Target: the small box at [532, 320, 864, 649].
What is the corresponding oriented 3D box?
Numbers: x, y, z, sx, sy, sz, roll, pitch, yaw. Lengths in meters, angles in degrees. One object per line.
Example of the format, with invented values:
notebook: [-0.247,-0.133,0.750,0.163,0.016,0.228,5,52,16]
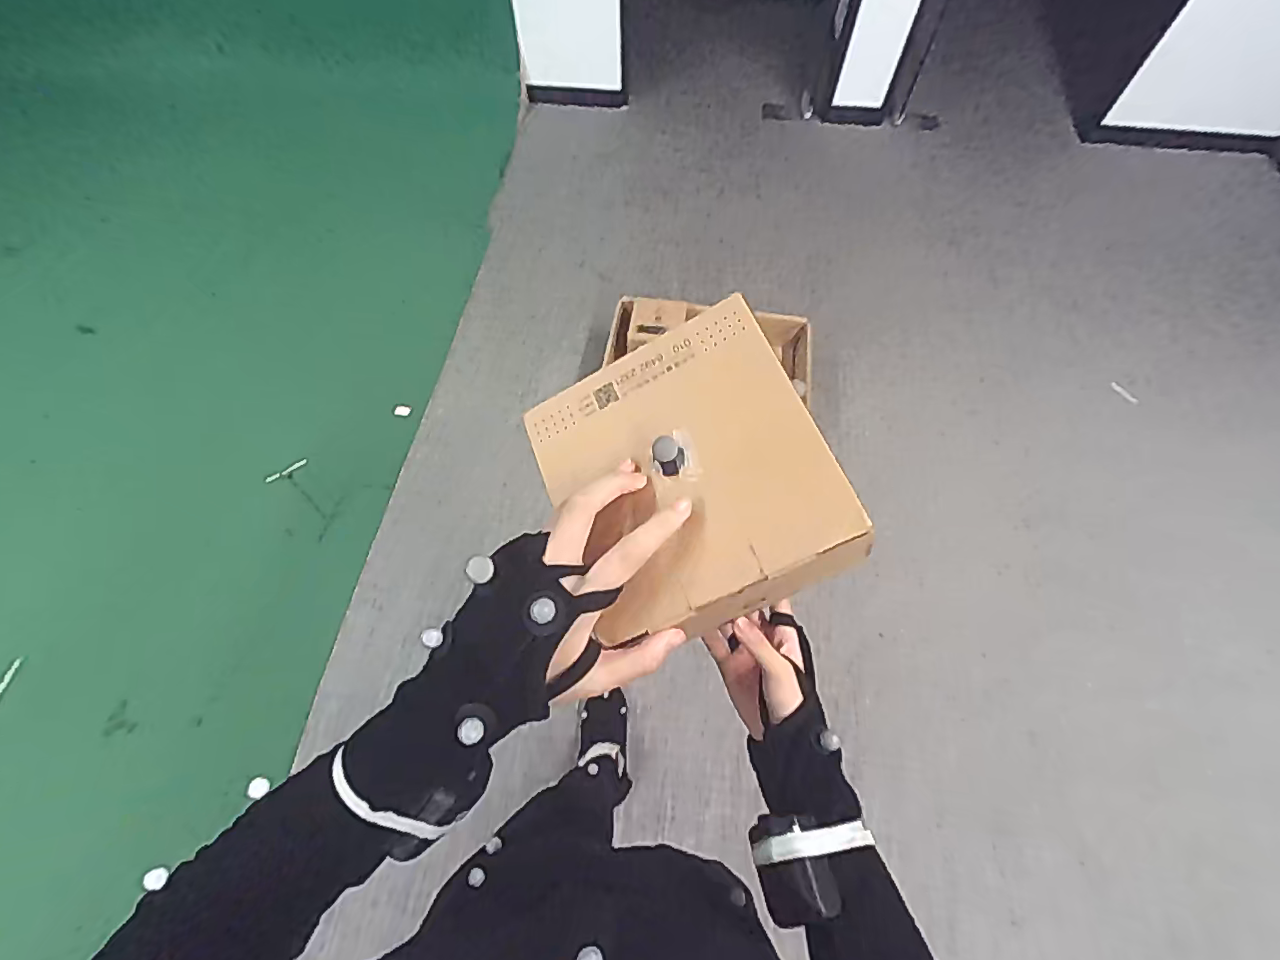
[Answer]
small box: [0.044,0.011,0.398,0.168,0.179,0.176,-26,67,12]
